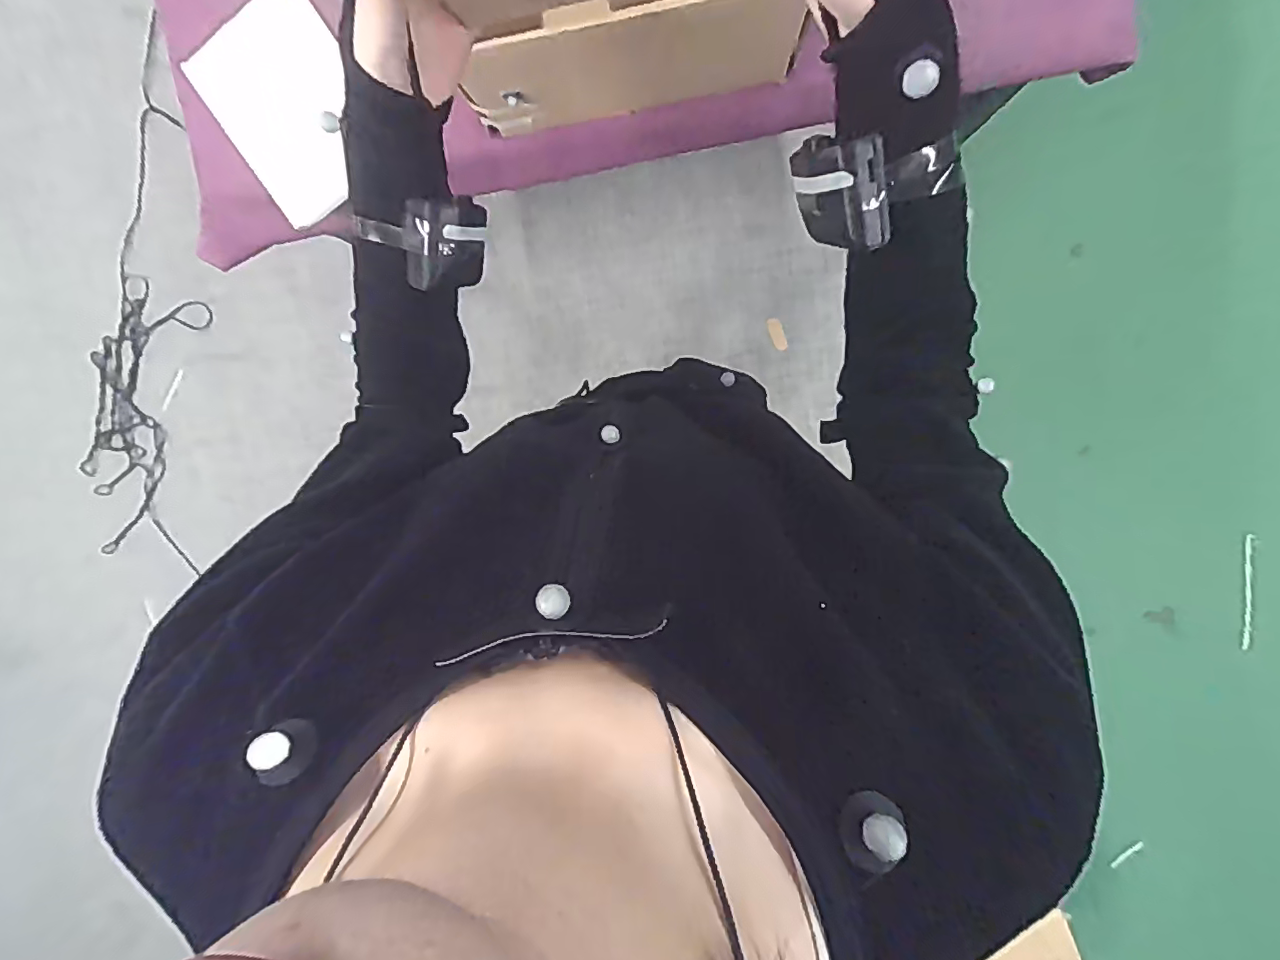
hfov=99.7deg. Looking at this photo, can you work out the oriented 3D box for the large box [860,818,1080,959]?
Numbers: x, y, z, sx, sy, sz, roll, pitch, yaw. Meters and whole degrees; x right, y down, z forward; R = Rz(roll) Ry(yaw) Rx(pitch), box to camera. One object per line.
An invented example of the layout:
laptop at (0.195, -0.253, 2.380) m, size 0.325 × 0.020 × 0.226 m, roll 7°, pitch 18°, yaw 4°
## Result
large box at (0.879, 1.203, 1.455) m, size 0.408 × 0.320 × 0.320 m, roll -23°, pitch 97°, yaw 8°
